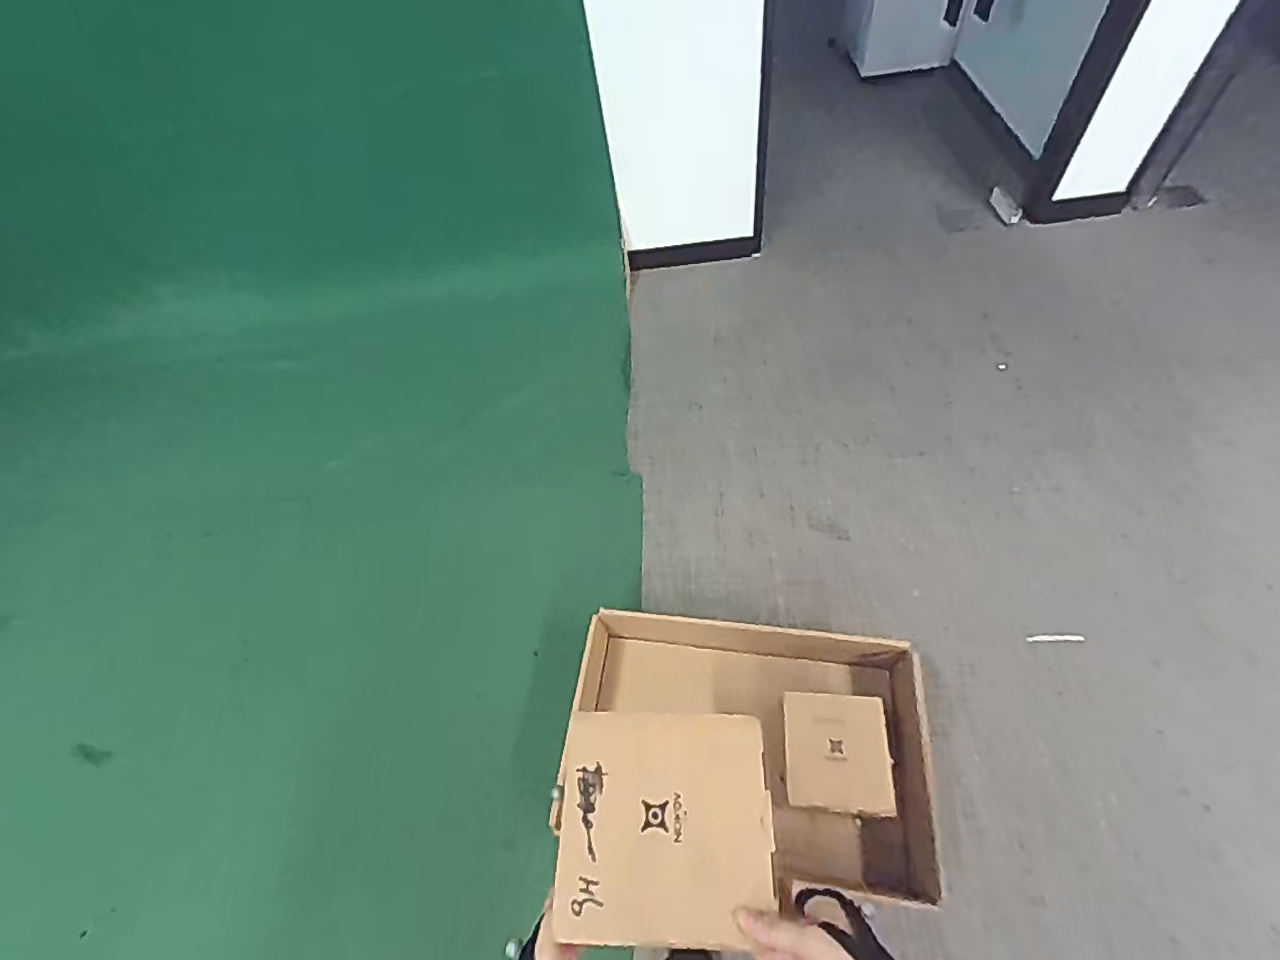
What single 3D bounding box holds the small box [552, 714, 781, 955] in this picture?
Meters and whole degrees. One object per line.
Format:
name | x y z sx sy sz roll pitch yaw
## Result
small box | 0.023 0.334 0.517 0.179 0.176 0.168 1 52 2
